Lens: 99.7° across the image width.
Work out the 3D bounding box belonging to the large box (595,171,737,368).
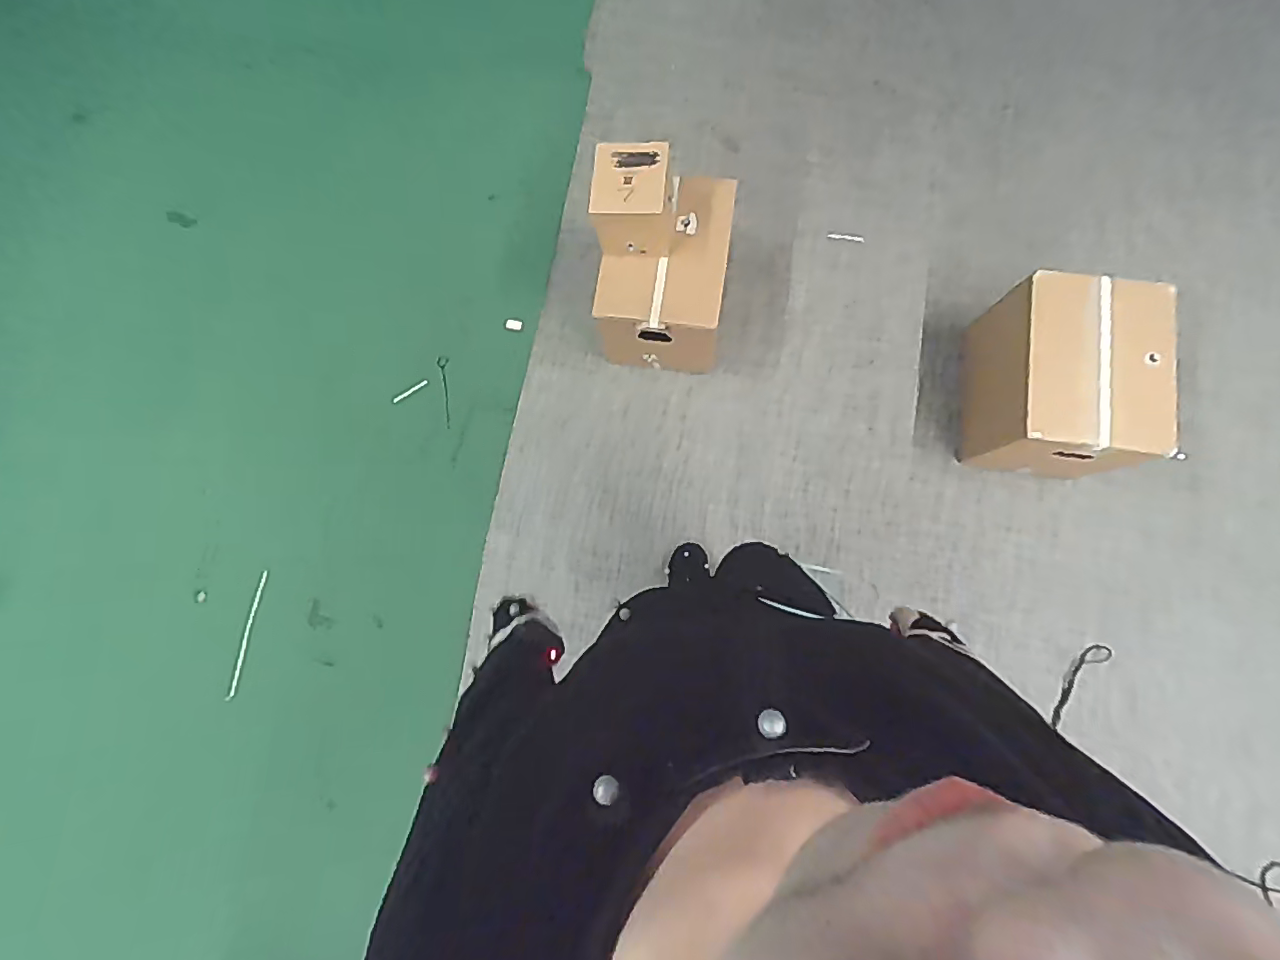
[{"bbox_3d":[0.082,-0.562,1.496,0.320,0.320,0.408,9,80,6],"label":"large box"}]
